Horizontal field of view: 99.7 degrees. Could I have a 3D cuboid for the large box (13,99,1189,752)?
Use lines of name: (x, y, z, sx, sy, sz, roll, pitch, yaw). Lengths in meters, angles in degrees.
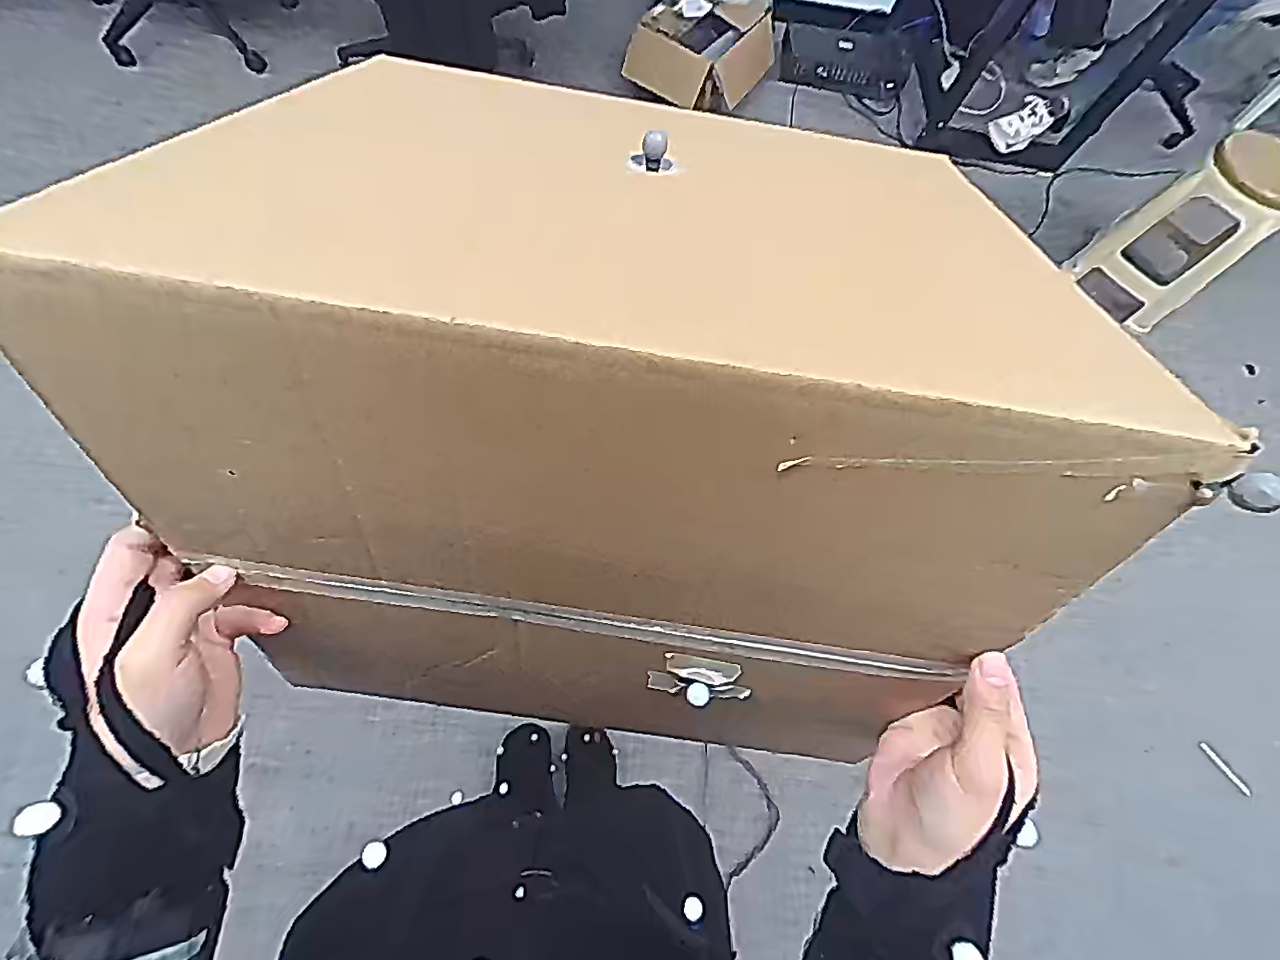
large box: (-0.016, -0.039, 0.387, 0.408, 0.320, 0.320, 8, 47, -2)
